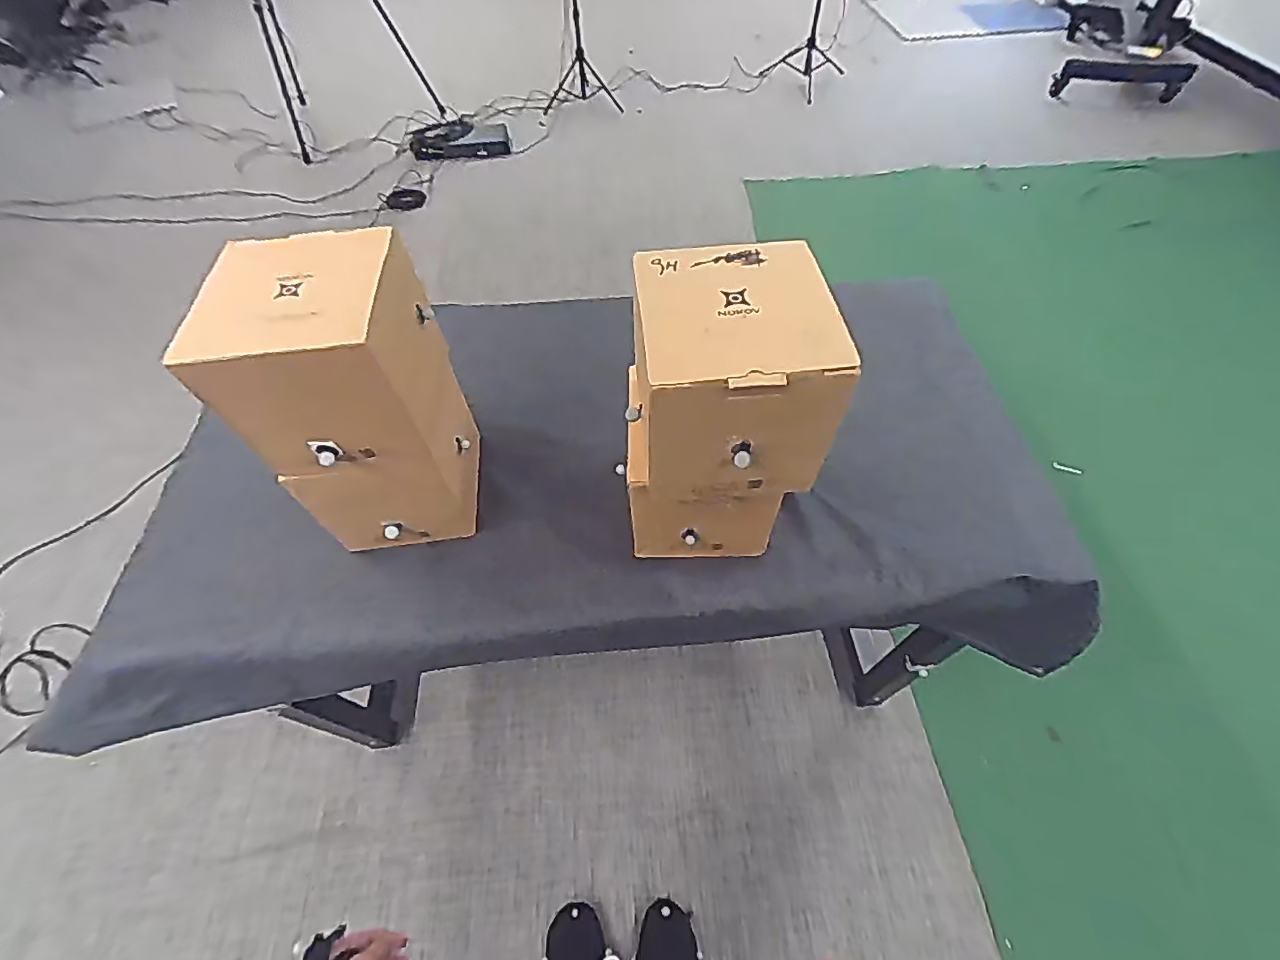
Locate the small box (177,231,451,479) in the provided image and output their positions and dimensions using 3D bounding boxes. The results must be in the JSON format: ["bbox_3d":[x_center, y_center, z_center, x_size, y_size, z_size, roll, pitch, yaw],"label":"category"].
[{"bbox_3d":[-0.305,-0.124,0.556,0.168,0.176,0.179,-8,56,-2],"label":"small box"}]

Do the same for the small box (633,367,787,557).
[{"bbox_3d":[0.074,-0.020,0.671,0.168,0.176,0.179,-1,55,1],"label":"small box"}]

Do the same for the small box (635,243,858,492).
[{"bbox_3d":[0.085,-0.099,0.526,0.168,0.176,0.179,-5,56,-1],"label":"small box"}]

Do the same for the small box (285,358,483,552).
[{"bbox_3d":[-0.305,-0.031,0.689,0.168,0.176,0.179,-7,56,-3],"label":"small box"}]
